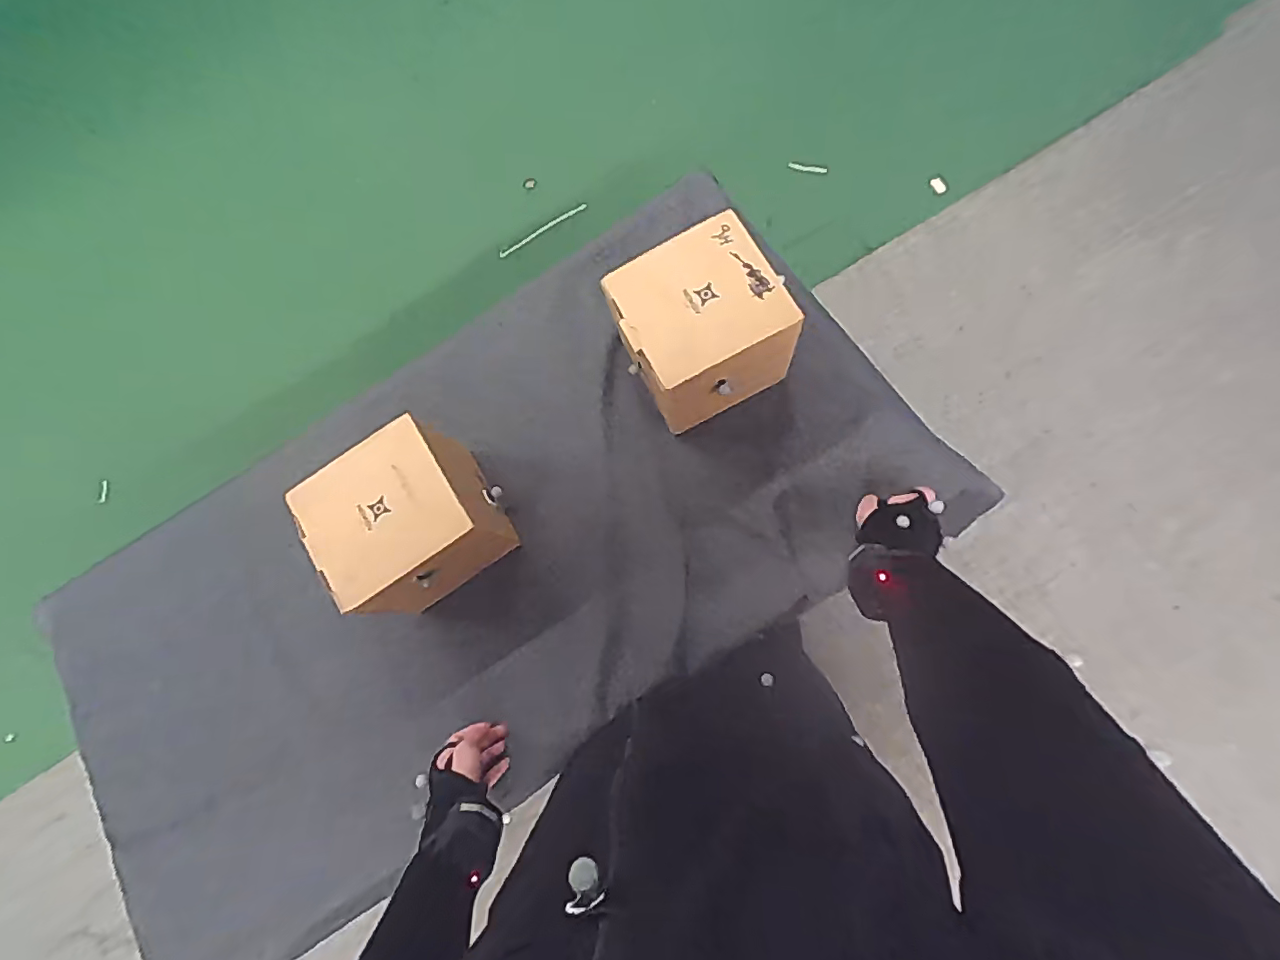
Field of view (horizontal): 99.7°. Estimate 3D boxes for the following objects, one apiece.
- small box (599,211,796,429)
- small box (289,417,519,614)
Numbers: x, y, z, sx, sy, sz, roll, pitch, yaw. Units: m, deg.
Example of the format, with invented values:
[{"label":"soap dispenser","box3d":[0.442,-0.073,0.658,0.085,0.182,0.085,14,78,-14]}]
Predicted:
[{"label":"small box","box3d":[0.074,-0.187,0.686,0.179,0.176,0.168,-29,76,2]},{"label":"small box","box3d":[-0.285,0.054,0.688,0.179,0.176,0.168,-35,77,-2]}]
